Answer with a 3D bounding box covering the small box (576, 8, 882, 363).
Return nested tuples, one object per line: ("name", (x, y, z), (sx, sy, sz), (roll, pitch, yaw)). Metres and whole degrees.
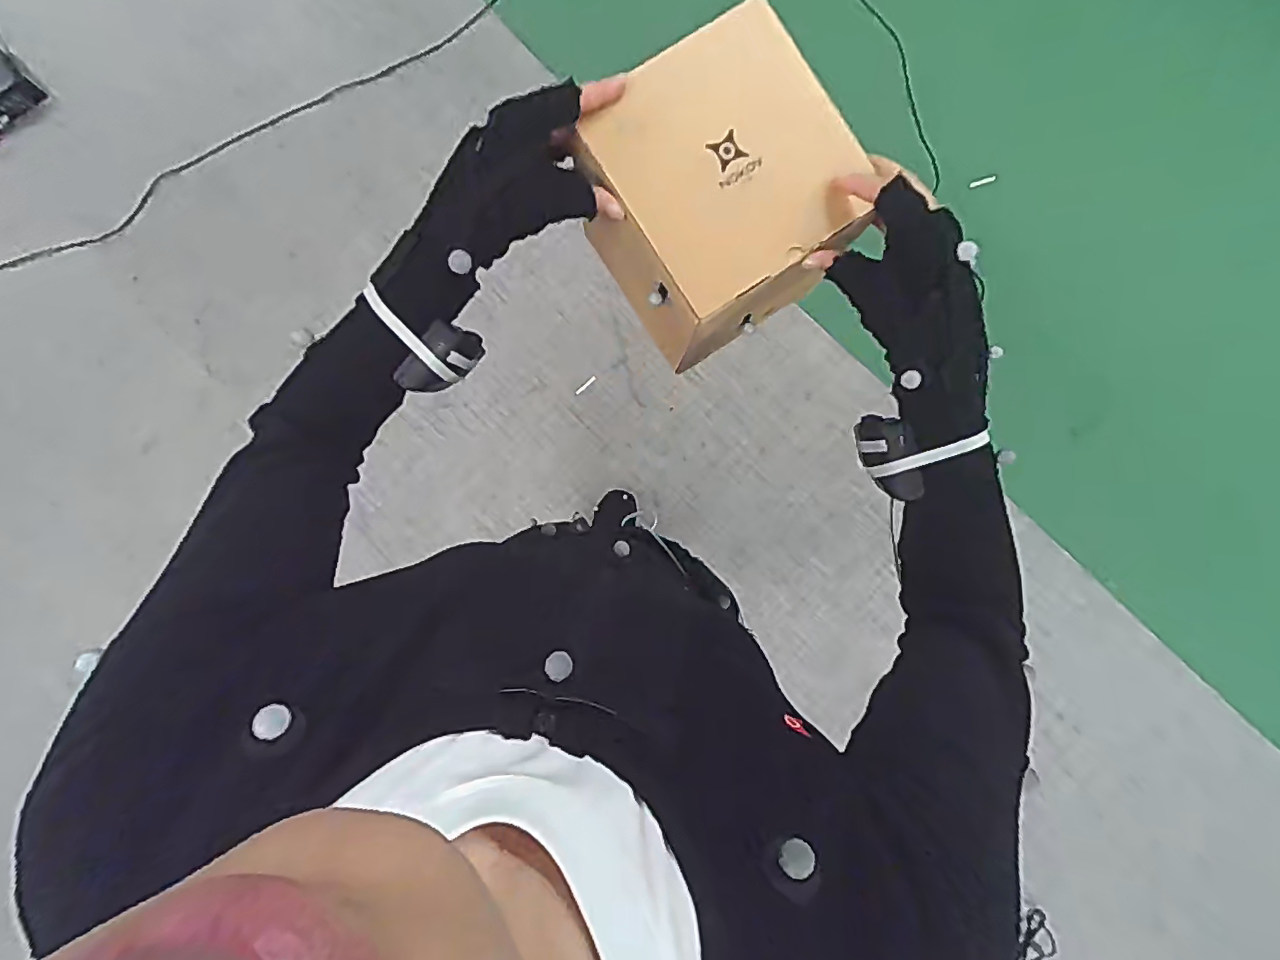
("small box", (0.060, -0.228, 0.468), (0.168, 0.176, 0.179), (-32, 91, -3))
